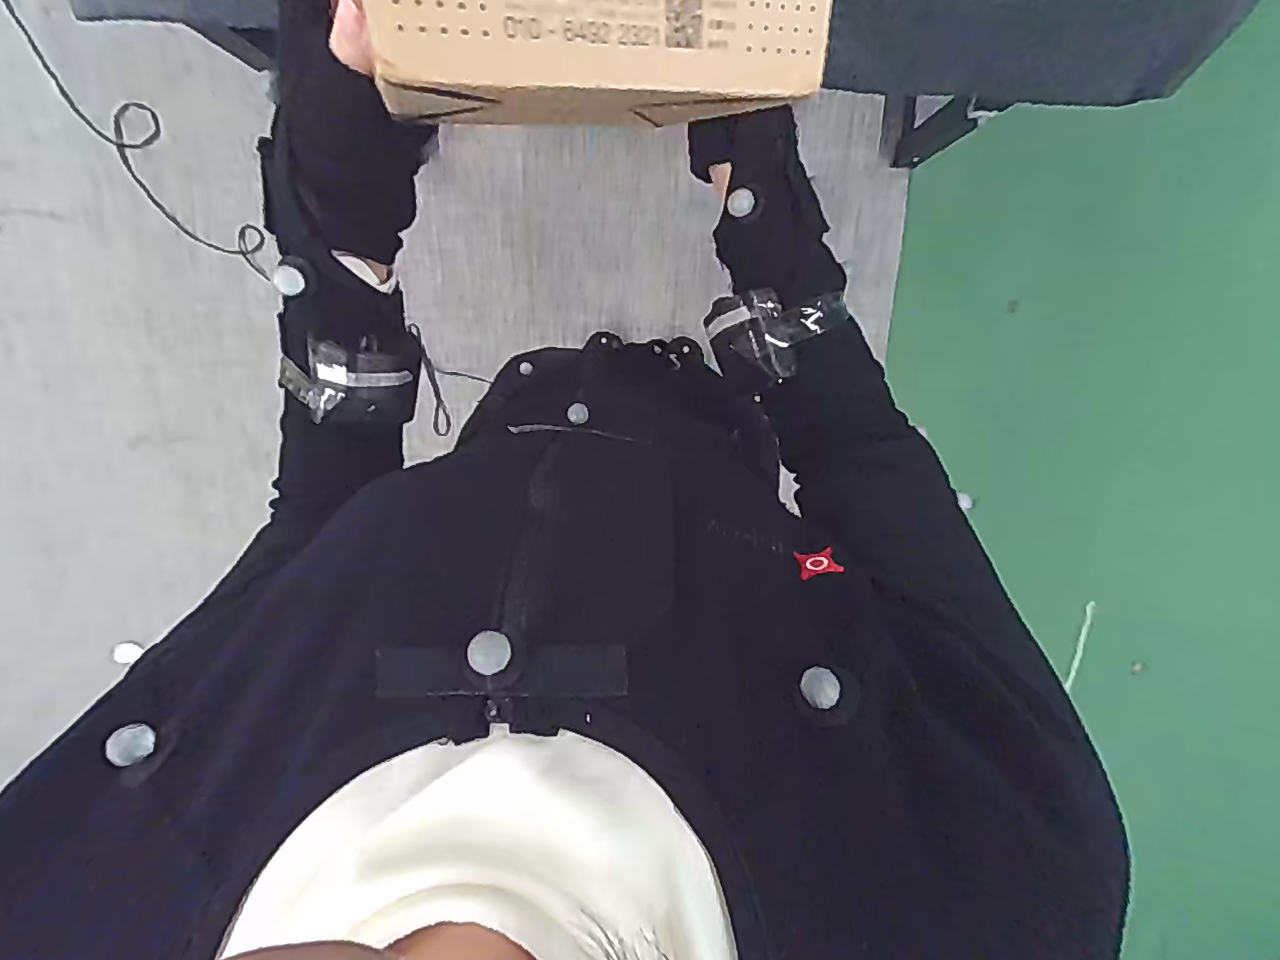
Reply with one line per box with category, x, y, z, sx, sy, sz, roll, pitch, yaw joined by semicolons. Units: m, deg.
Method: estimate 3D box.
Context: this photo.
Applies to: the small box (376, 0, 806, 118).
small box;-0.036;-0.262;0.234;0.168;0.179;0.176;-10;122;-15
